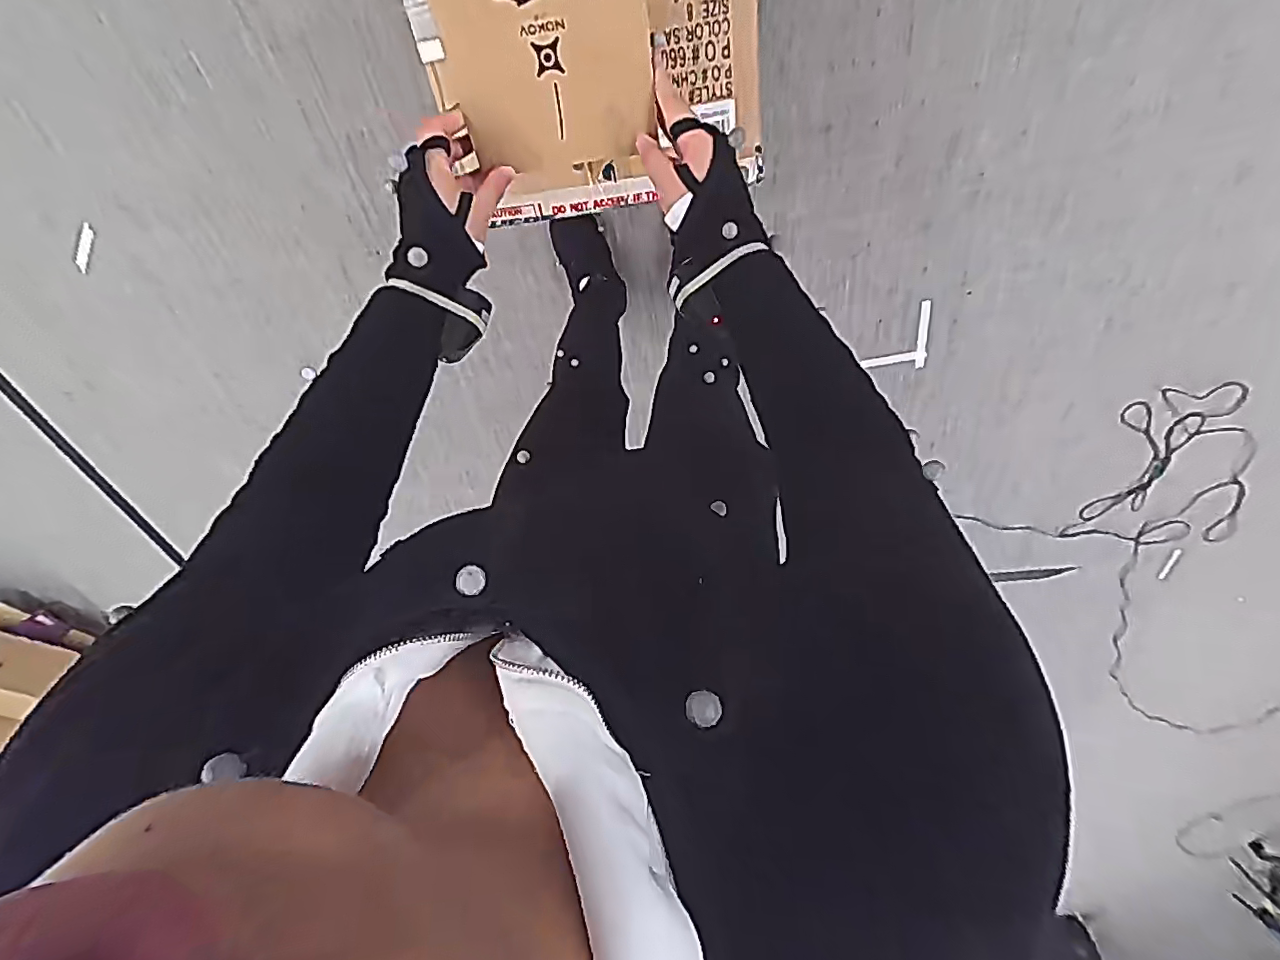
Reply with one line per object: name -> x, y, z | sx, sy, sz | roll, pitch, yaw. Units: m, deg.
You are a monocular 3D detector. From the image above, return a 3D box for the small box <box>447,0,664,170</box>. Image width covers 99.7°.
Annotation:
small box -> -0.070, -0.408, 0.504 | 0.168, 0.176, 0.179 | -5, 127, 4
